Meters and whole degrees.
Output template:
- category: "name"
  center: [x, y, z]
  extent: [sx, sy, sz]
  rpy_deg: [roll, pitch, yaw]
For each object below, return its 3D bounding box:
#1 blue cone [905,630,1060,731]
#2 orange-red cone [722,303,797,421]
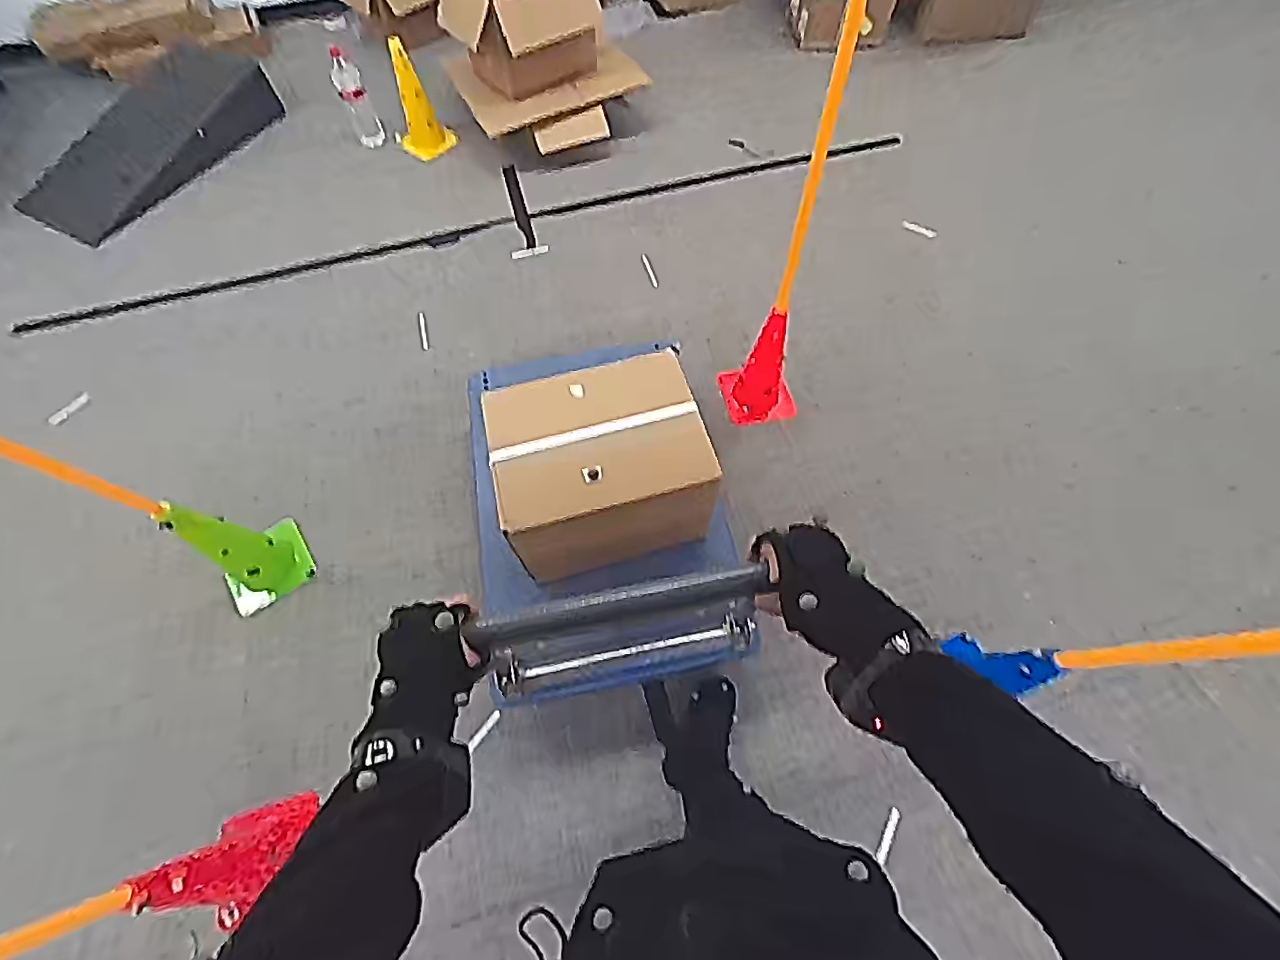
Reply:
- category: "blue cone"
  center: [0.741, 0.392, 1.123]
  extent: [0.193, 0.380, 0.192]
  rpy_deg: [-19, 63, -9]
- category: "orange-red cone"
  center: [0.361, -0.347, 1.495]
  extent: [0.199, 0.360, 0.198]
  rpy_deg: [-9, 63, -5]
